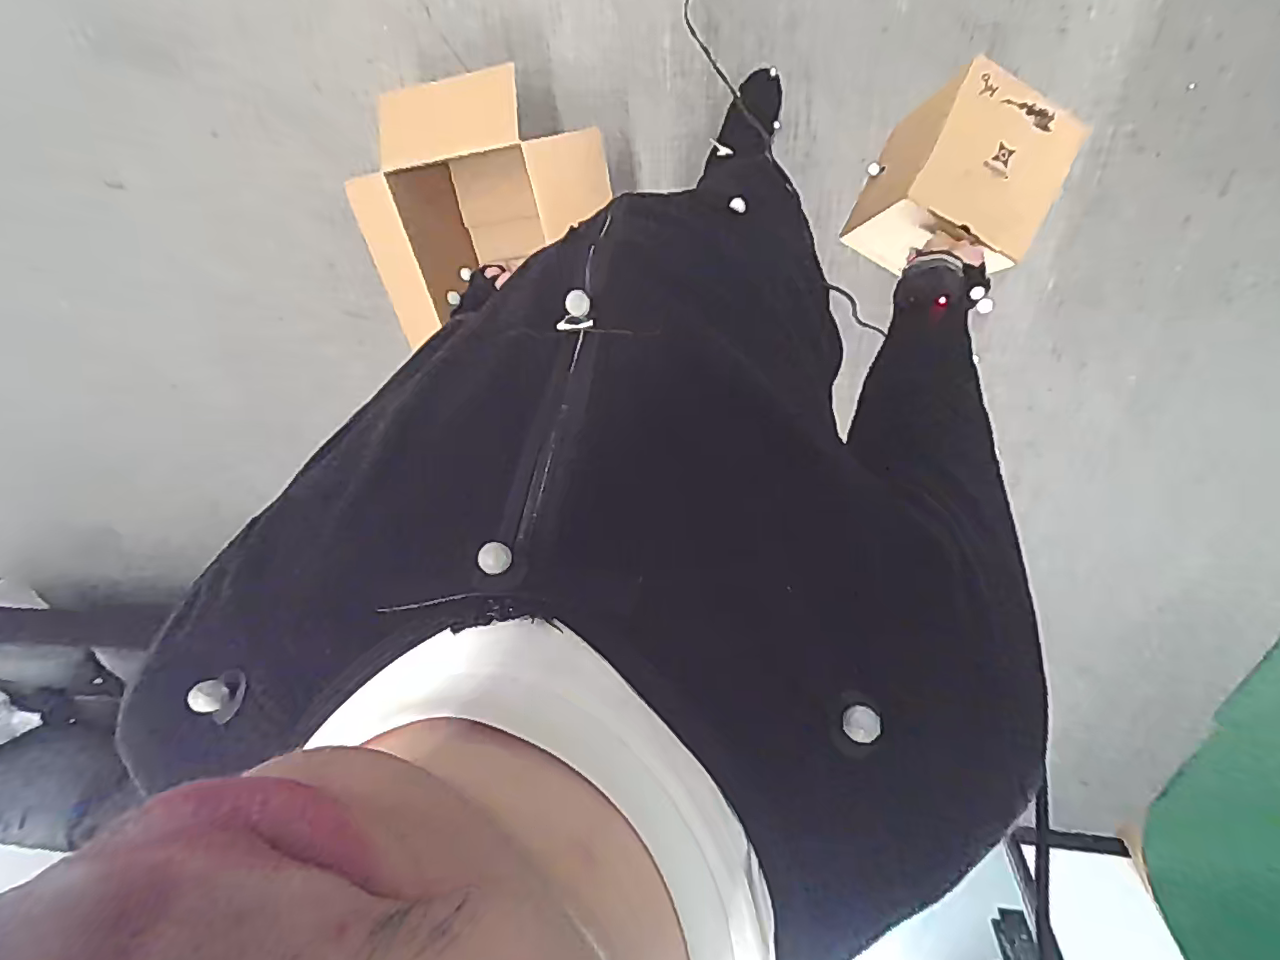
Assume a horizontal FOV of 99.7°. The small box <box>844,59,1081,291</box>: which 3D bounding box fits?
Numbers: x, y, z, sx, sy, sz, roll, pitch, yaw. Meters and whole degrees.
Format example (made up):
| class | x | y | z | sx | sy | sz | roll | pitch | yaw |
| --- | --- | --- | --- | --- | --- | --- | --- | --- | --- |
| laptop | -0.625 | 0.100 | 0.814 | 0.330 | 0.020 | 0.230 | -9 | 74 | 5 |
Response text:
| class | x | y | z | sx | sy | sz | roll | pitch | yaw |
| --- | --- | --- | --- | --- | --- | --- | --- | --- | --- |
| small box | 0.396 | -0.371 | 0.702 | 0.168 | 0.176 | 0.179 | 26 | 94 | -9 |
